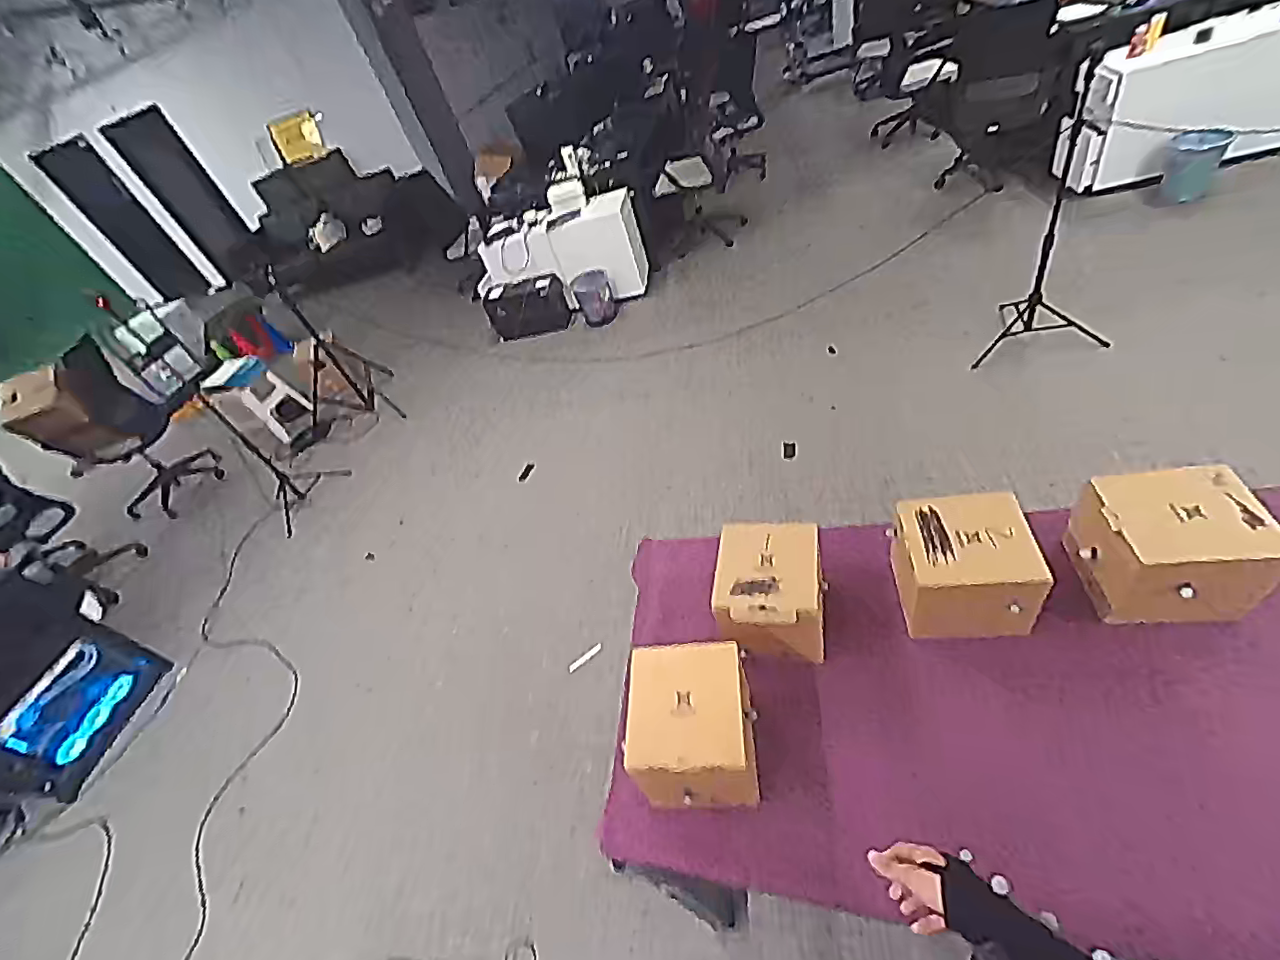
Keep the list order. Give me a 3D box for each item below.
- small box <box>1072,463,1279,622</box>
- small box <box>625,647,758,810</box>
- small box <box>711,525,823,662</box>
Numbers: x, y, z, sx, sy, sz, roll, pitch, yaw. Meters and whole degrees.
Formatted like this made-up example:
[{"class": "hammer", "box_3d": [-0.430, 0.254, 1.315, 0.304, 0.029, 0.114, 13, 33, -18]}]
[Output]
[{"class": "small box", "box_3d": [0.784, 0.100, 0.807, 0.179, 0.176, 0.168, -7, 46, 17]}, {"class": "small box", "box_3d": [0.081, 0.376, 0.815, 0.168, 0.176, 0.179, -8, 44, 12]}, {"class": "small box", "box_3d": [0.228, 0.198, 0.941, 0.168, 0.176, 0.179, -3, 45, 20]}]
